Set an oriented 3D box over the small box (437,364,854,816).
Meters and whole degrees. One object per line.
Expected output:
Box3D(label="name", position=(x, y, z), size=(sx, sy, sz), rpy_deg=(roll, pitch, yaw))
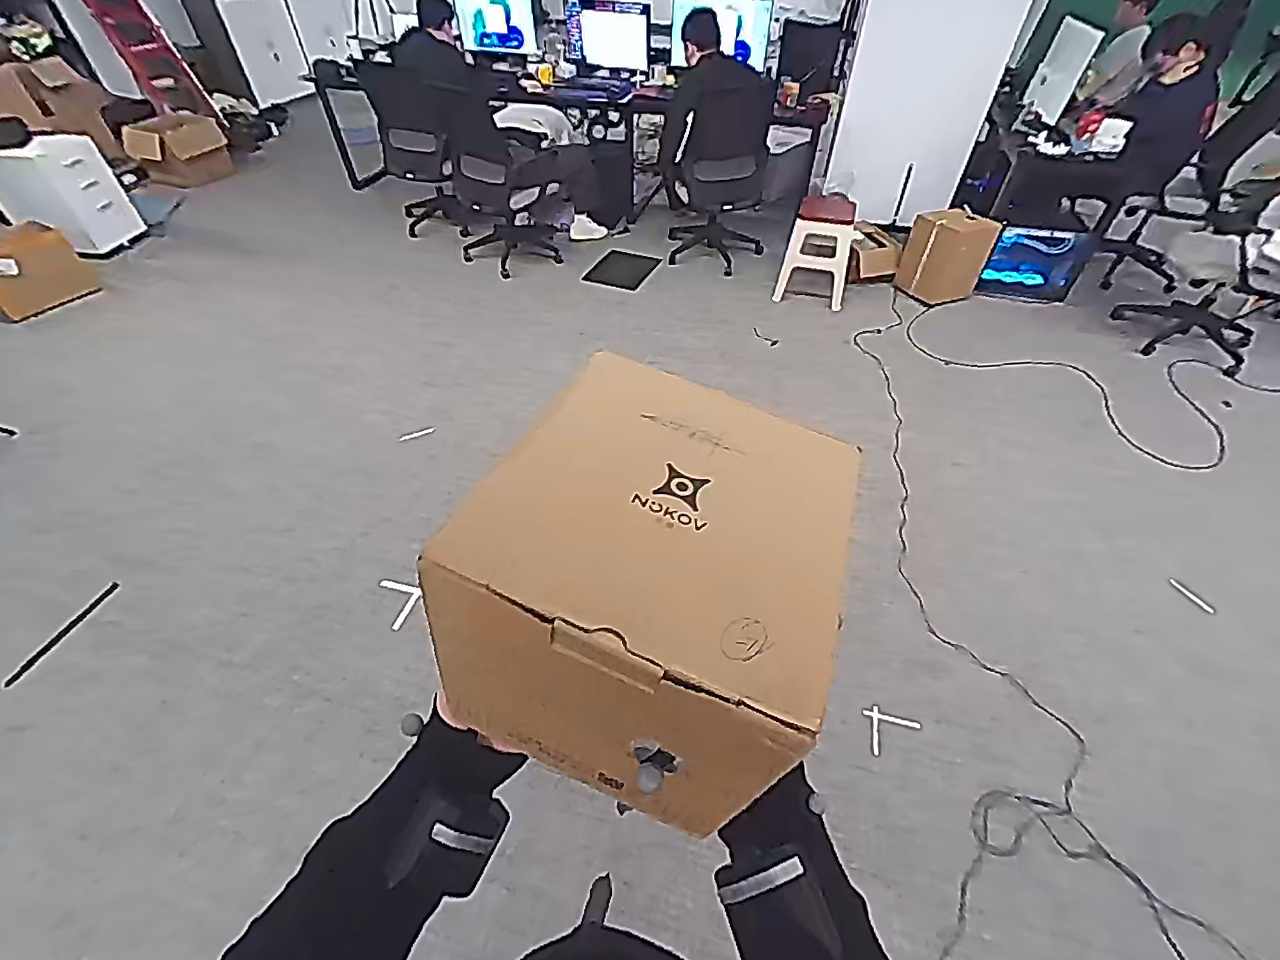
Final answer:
Box3D(label="small box", position=(0.007, 0.066, 0.326), size=(0.168, 0.176, 0.179), rpy_deg=(22, 46, 7))
